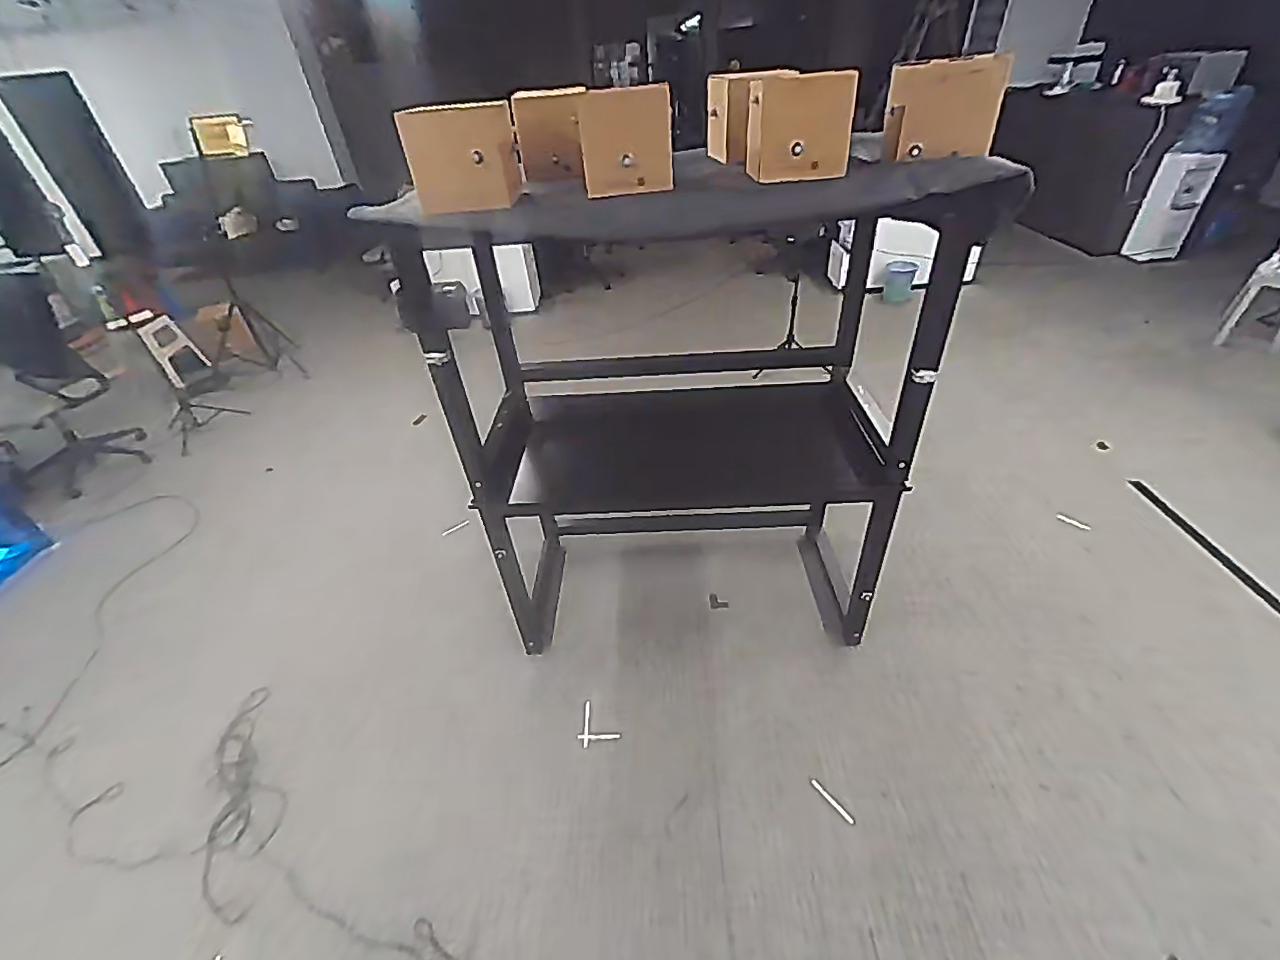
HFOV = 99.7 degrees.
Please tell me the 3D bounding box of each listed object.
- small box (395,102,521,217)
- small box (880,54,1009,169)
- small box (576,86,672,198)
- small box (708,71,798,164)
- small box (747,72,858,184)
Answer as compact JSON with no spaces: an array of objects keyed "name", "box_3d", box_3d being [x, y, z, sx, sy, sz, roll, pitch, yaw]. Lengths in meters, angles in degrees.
[{"name":"small box","box_3d":[-0.338,-0.622,1.049,0.179,0.176,0.168,-3,37,1]},{"name":"small box","box_3d":[0.580,-0.714,1.056,0.168,0.176,0.179,2,36,11]},{"name":"small box","box_3d":[-0.030,-0.656,1.053,0.168,0.176,0.179,-6,35,-1]},{"name":"small box","box_3d":[0.261,-0.865,1.292,0.168,0.176,0.179,-9,38,-4]},{"name":"small box","box_3d":[0.305,-0.685,1.056,0.168,0.176,0.179,-3,36,3]}]
